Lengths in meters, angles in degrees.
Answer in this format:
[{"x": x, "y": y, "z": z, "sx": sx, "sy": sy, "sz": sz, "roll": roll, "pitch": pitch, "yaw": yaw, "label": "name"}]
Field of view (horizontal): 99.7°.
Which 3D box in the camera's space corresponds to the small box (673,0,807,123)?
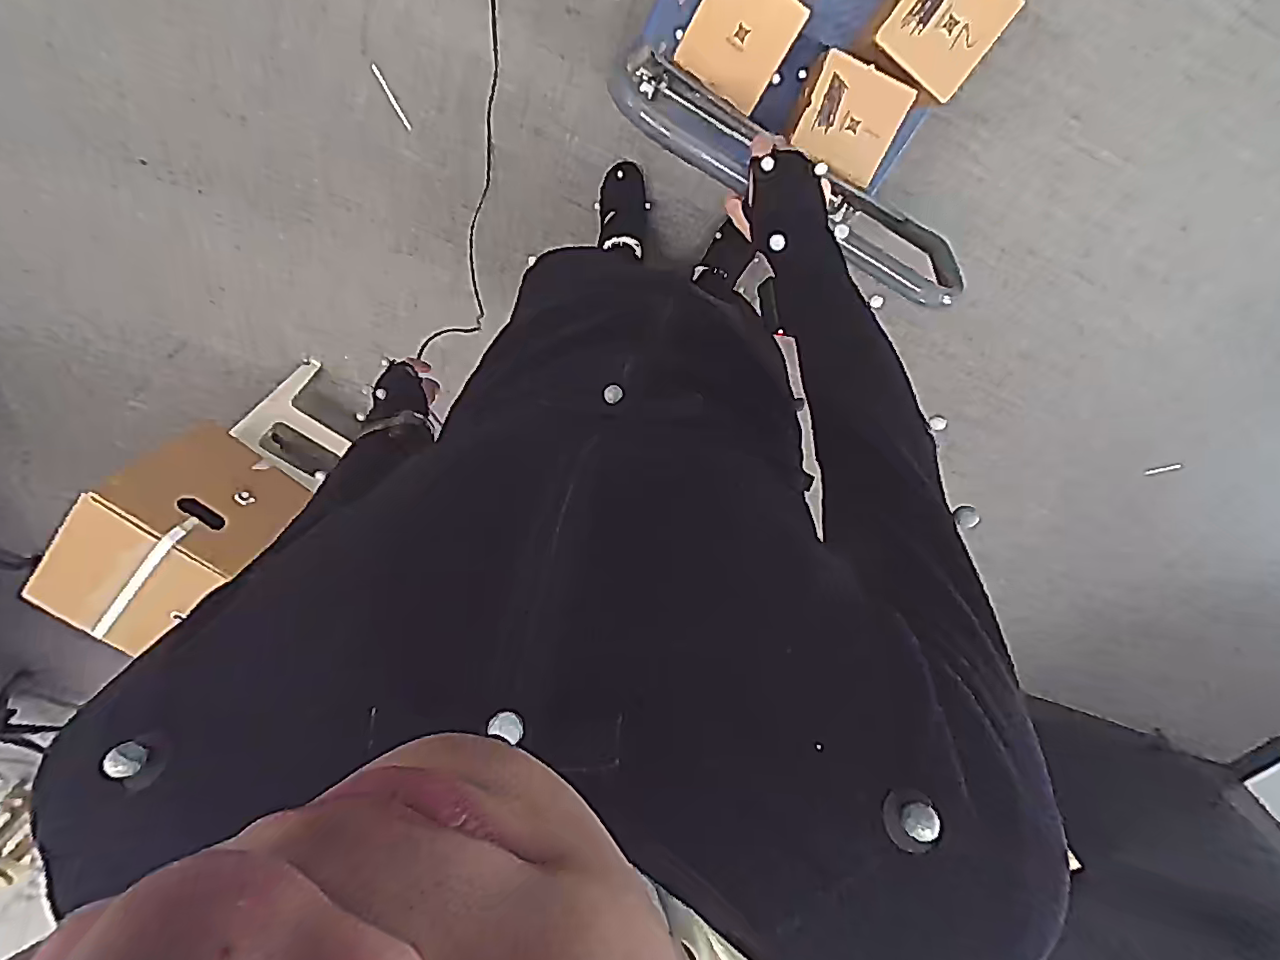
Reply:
[{"x": 0.169, "y": -0.789, "z": 0.987, "sx": 0.168, "sy": 0.176, "sz": 0.179, "roll": 28, "pitch": 120, "yaw": -15, "label": "small box"}]
